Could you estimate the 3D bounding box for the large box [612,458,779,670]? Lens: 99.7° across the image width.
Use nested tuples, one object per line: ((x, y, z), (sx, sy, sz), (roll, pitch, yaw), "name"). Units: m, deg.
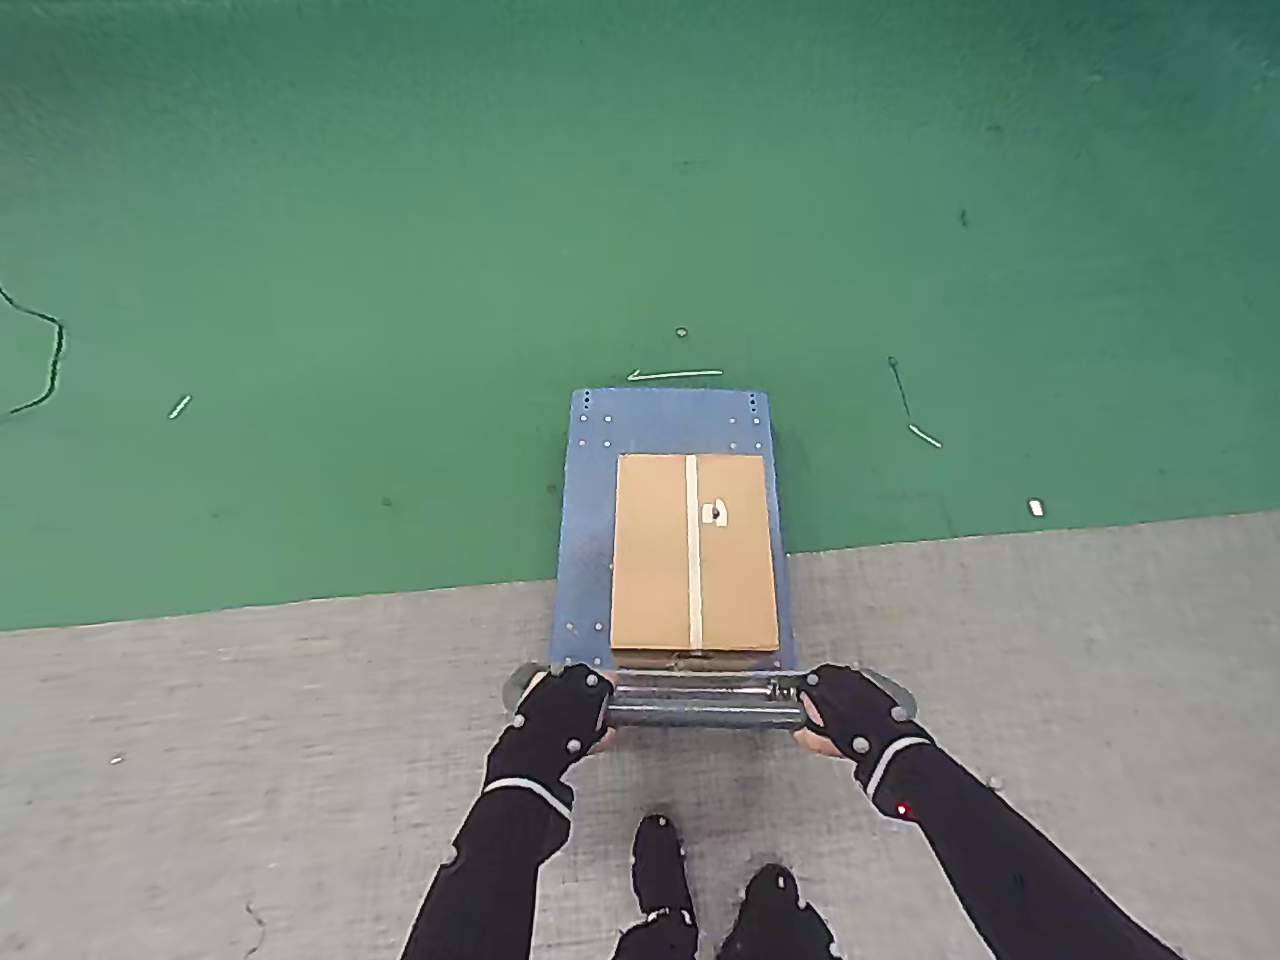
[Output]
((0.105, 0.199, 1.212), (0.320, 0.320, 0.408), (1, 64, 0), "large box")
